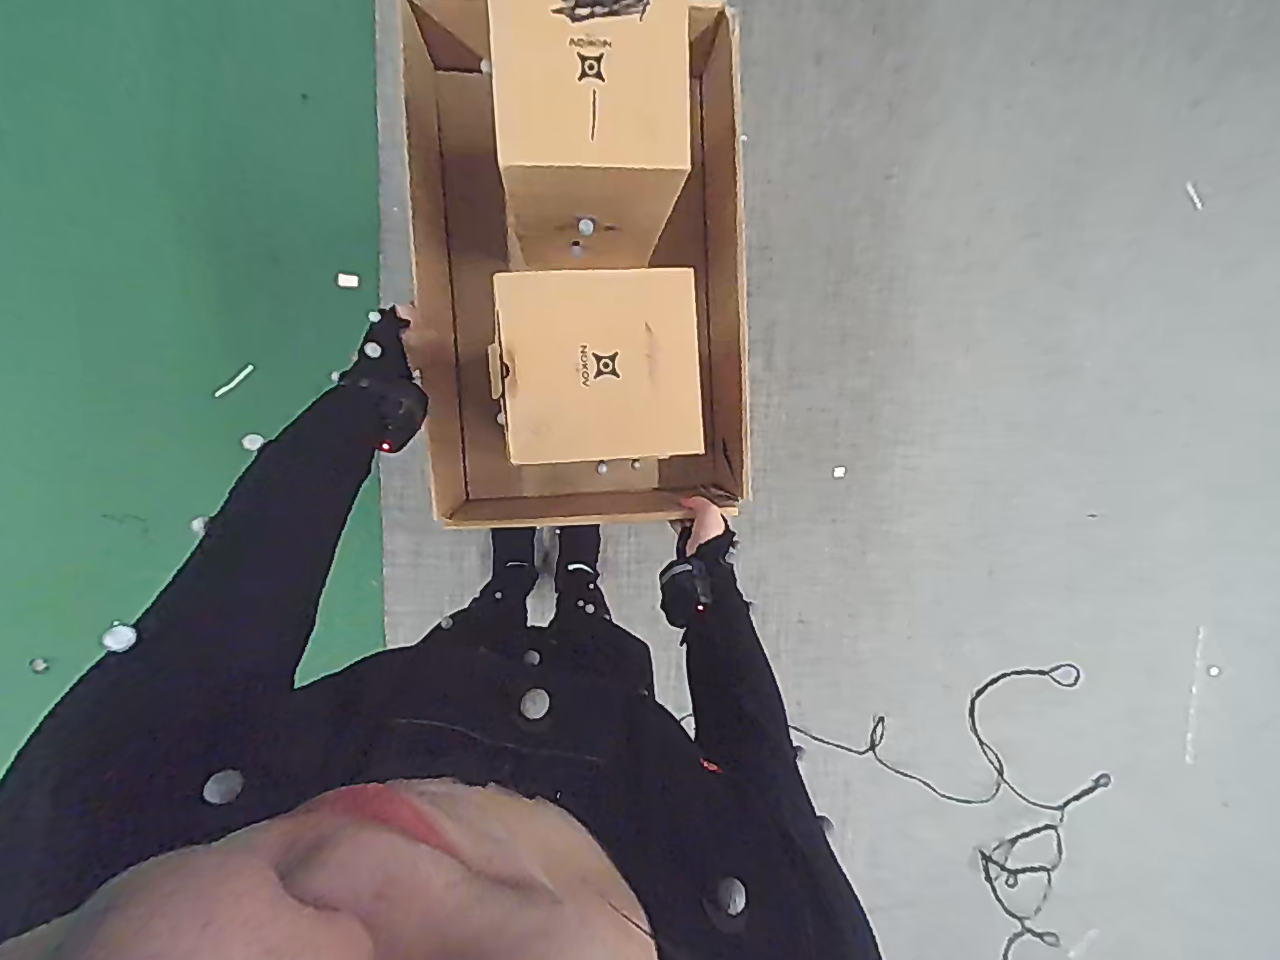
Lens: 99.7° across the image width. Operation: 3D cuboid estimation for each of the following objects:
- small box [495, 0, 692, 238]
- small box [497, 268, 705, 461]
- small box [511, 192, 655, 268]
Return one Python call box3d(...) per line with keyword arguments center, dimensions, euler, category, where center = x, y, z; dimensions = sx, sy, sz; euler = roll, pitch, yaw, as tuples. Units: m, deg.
box3d(center=(-0.047, -0.357, 0.528), dimensions=(0.168, 0.176, 0.179), euler=(-2, 97, -7), category="small box")
box3d(center=(-0.041, -0.106, 0.553), dimensions=(0.179, 0.176, 0.168), euler=(-4, 95, -7), category="small box")
box3d(center=(-0.068, -0.378, 0.690), dimensions=(0.179, 0.176, 0.168), euler=(-2, 97, -7), category="small box")
